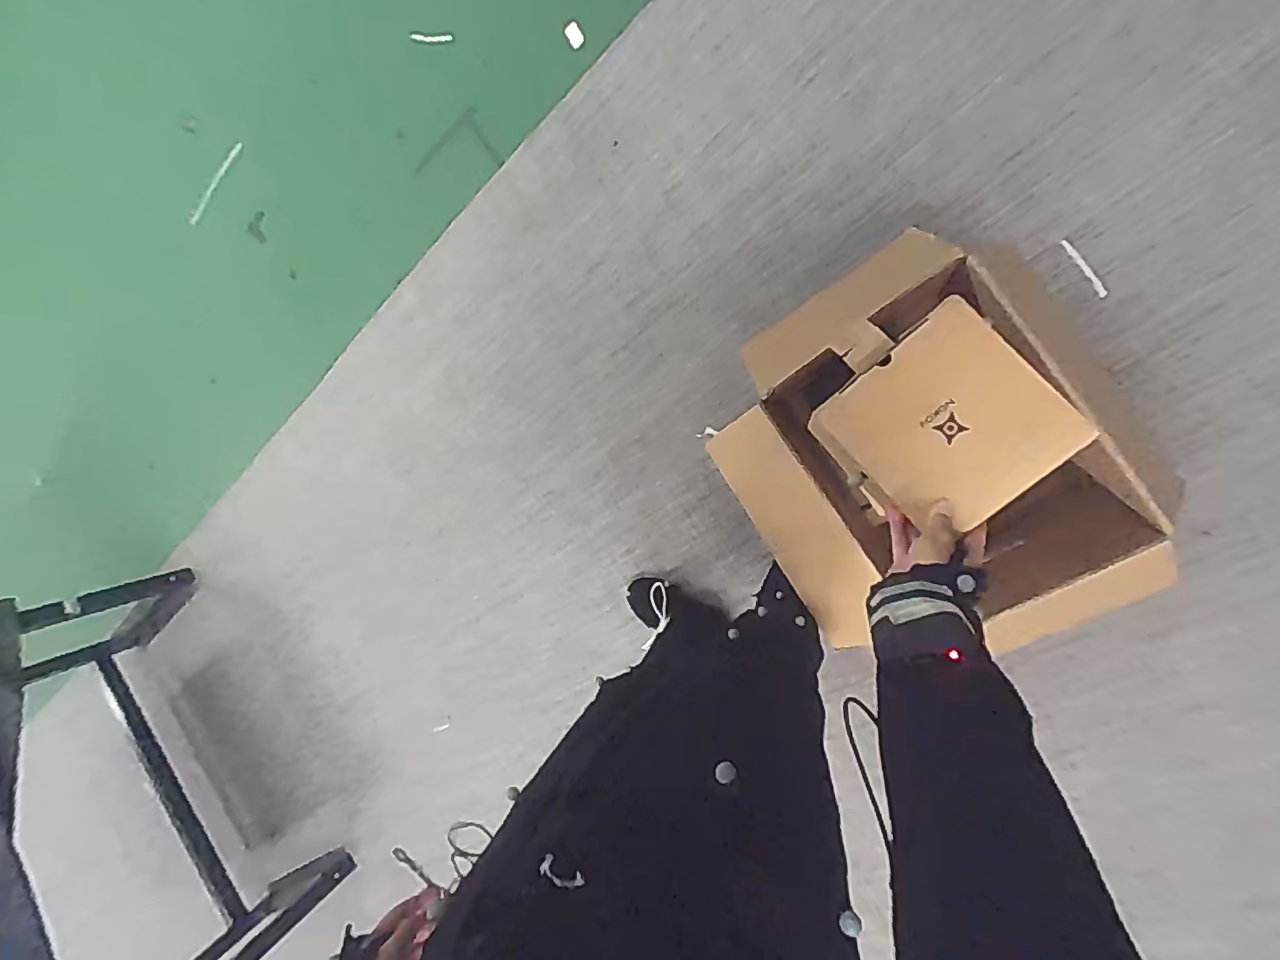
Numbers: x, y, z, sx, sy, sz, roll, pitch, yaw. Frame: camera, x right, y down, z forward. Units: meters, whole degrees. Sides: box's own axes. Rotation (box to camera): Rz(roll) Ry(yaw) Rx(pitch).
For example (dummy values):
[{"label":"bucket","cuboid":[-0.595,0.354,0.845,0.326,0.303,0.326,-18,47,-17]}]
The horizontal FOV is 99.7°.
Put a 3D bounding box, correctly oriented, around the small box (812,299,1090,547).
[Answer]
[{"label":"small box","cuboid":[0.306,-0.056,0.580,0.168,0.176,0.179,-42,80,13]}]
